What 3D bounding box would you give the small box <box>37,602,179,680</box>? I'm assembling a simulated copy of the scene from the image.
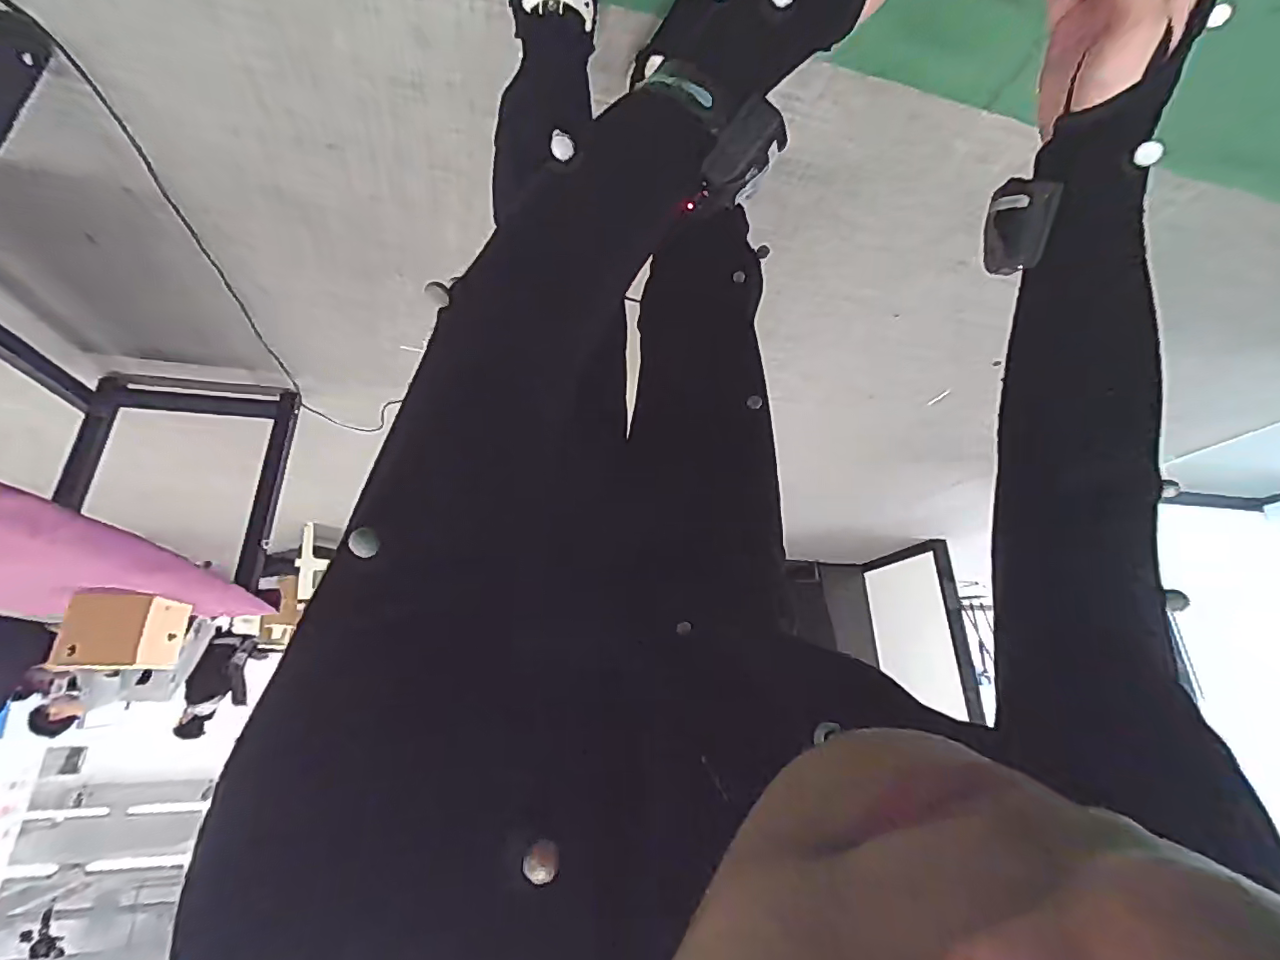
[{"bbox_3d":[-1.261,0.389,1.303,0.179,0.176,0.168,4,158,-12],"label":"small box"}]
